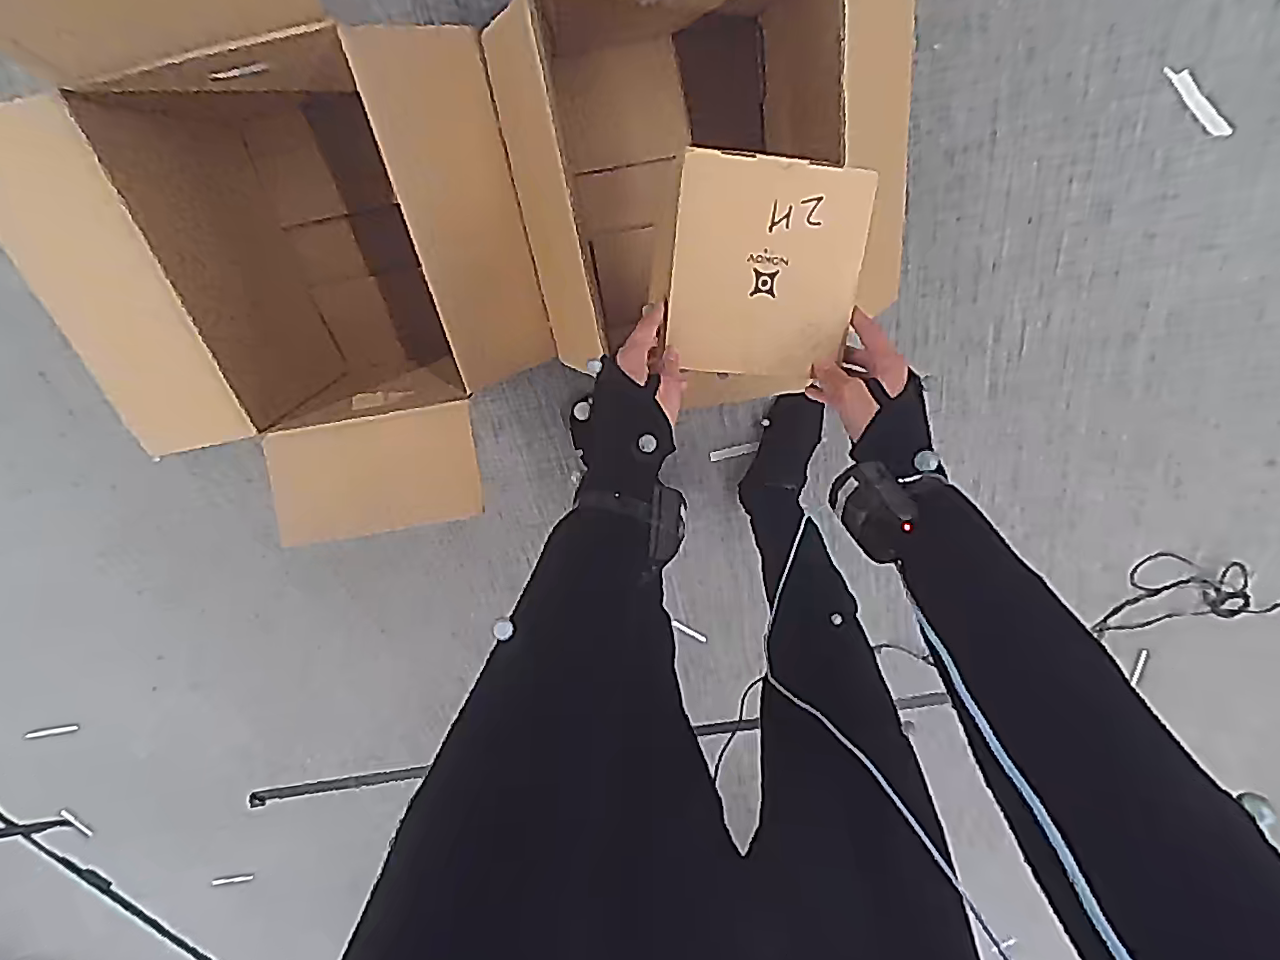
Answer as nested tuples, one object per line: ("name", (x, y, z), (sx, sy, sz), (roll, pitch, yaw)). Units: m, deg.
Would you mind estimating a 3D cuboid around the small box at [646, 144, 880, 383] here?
("small box", (0.099, -0.201, 0.530), (0.168, 0.176, 0.179), (3, 109, -7))
